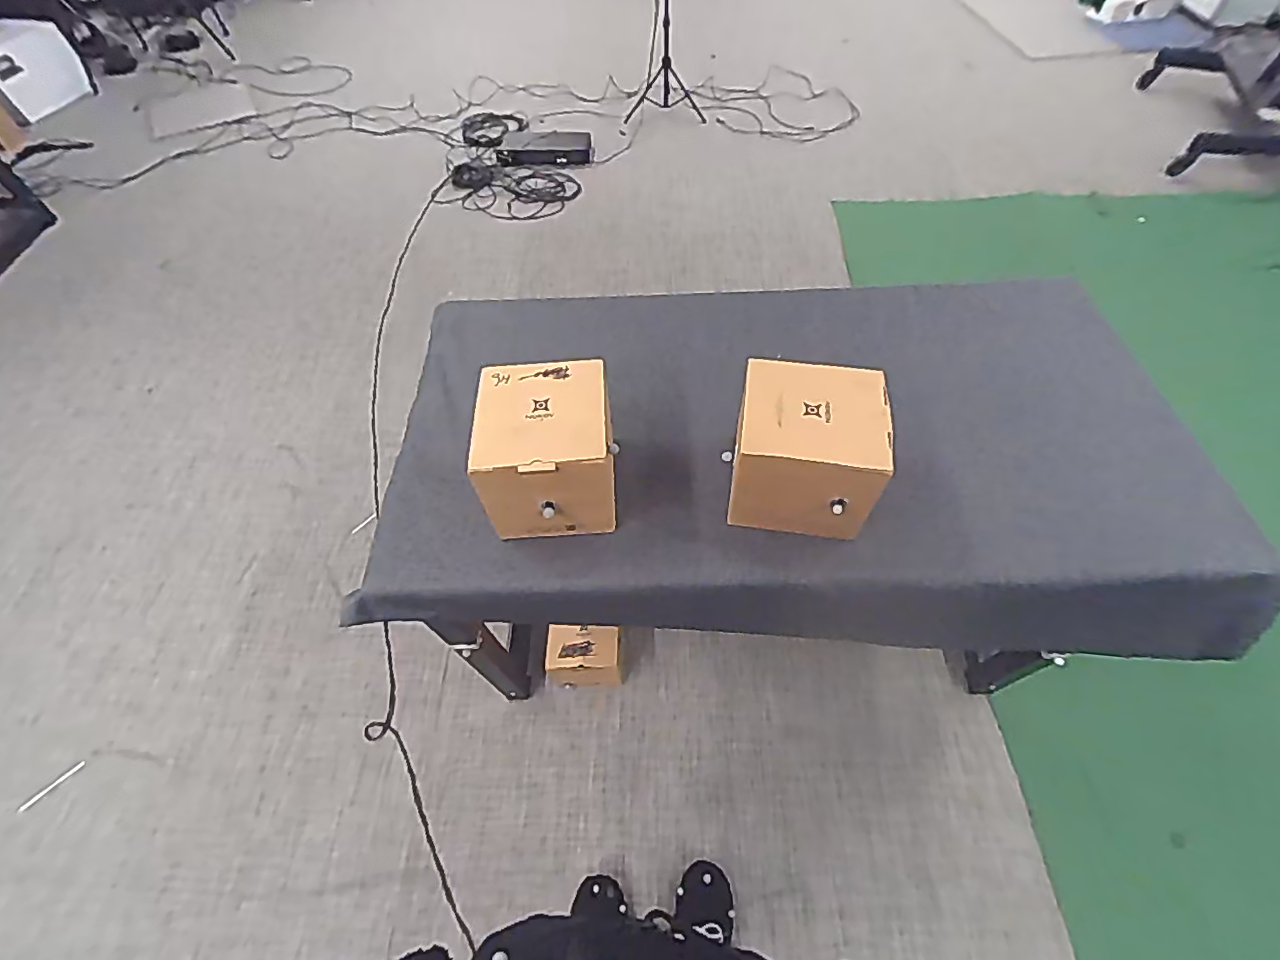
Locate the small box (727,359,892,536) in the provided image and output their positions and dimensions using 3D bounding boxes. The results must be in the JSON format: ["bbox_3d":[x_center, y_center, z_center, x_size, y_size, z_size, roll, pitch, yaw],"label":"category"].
[{"bbox_3d":[0.220,-0.039,0.737,0.179,0.176,0.168,7,56,8],"label":"small box"}]

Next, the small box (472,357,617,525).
[{"bbox_3d":[-0.120,-0.046,0.750,0.168,0.176,0.179,-3,56,-1],"label":"small box"}]
